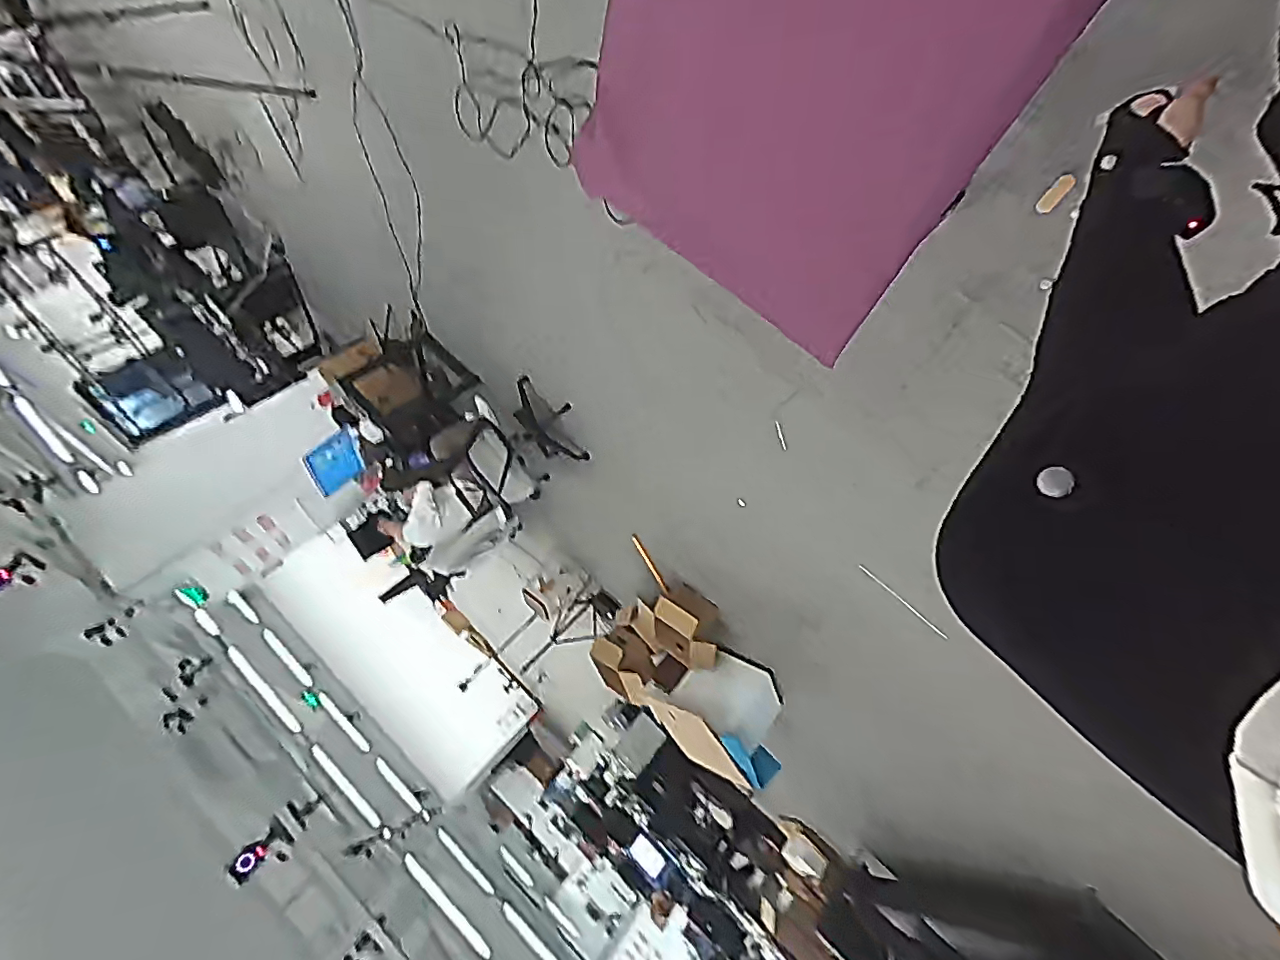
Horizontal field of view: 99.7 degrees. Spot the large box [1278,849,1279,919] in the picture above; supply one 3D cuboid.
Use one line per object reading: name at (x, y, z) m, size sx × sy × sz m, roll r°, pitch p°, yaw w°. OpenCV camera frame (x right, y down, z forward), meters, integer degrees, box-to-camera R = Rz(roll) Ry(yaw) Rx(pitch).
large box at (2.107, 1.139, 1.509) m, size 0.408 × 0.320 × 0.320 m, roll 8°, pitch 132°, yaw 47°
